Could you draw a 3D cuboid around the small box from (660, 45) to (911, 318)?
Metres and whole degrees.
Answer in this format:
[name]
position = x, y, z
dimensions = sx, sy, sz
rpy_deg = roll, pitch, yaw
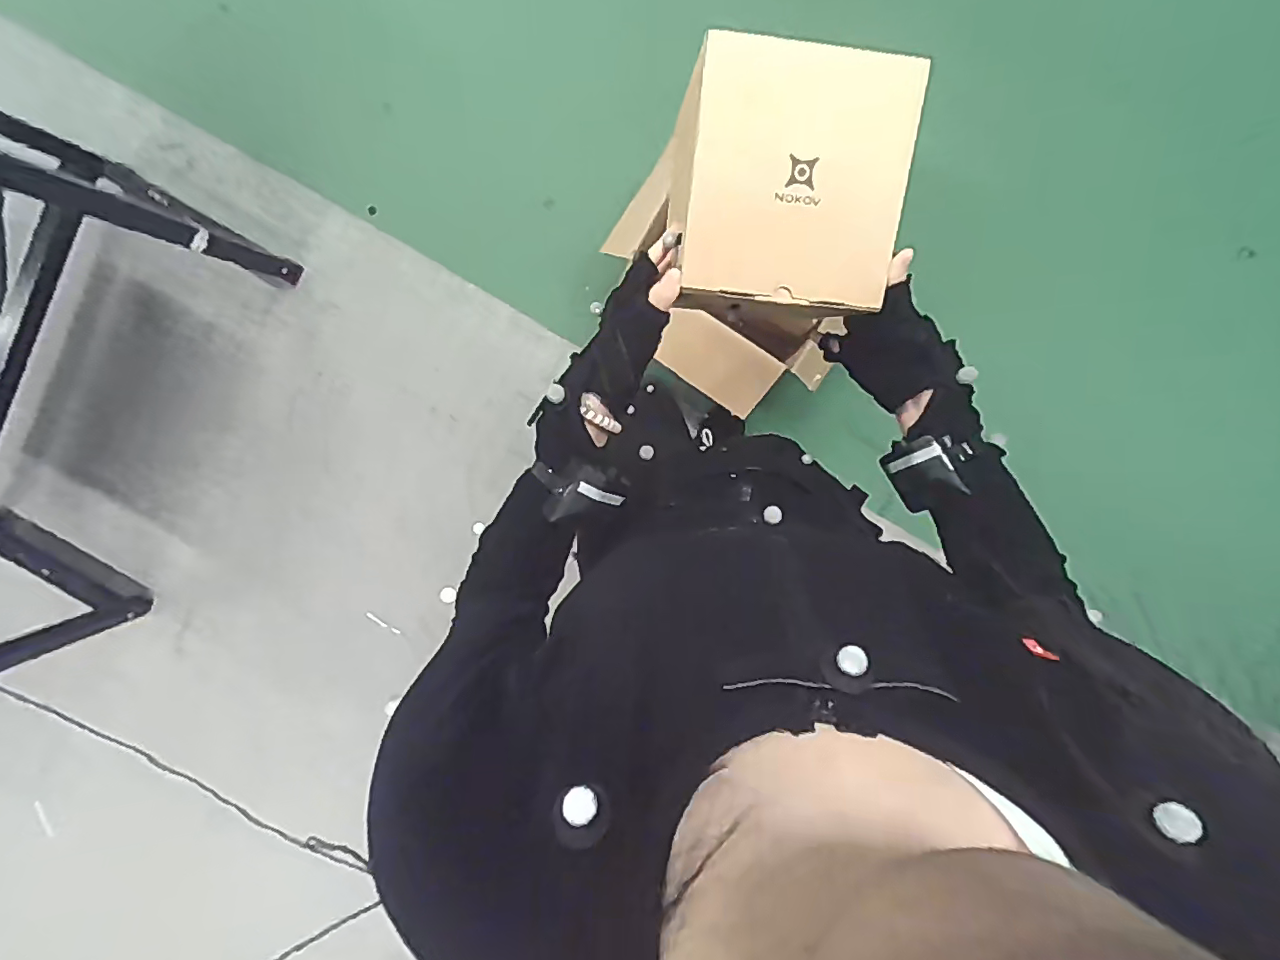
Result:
[small box]
position = 0.111, -0.248, 0.496
dimensions = 0.168, 0.176, 0.179
rpy_deg = 4, 106, -4
